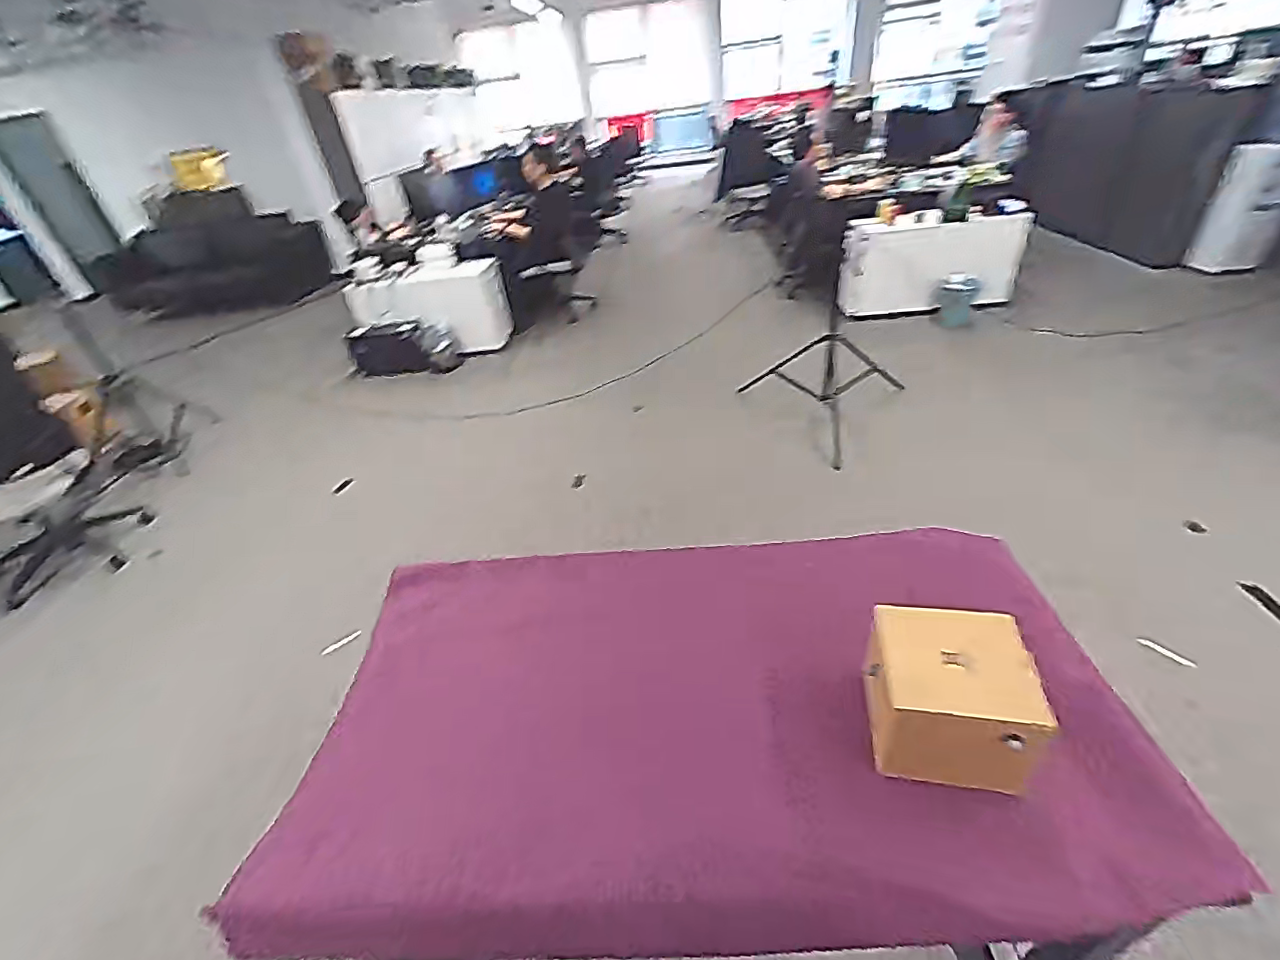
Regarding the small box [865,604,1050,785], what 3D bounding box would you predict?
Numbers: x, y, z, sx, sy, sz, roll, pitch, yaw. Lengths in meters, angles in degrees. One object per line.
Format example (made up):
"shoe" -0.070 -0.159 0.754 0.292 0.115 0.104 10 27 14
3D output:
"small box" 0.415 0.294 0.748 0.179 0.176 0.168 1 36 13
